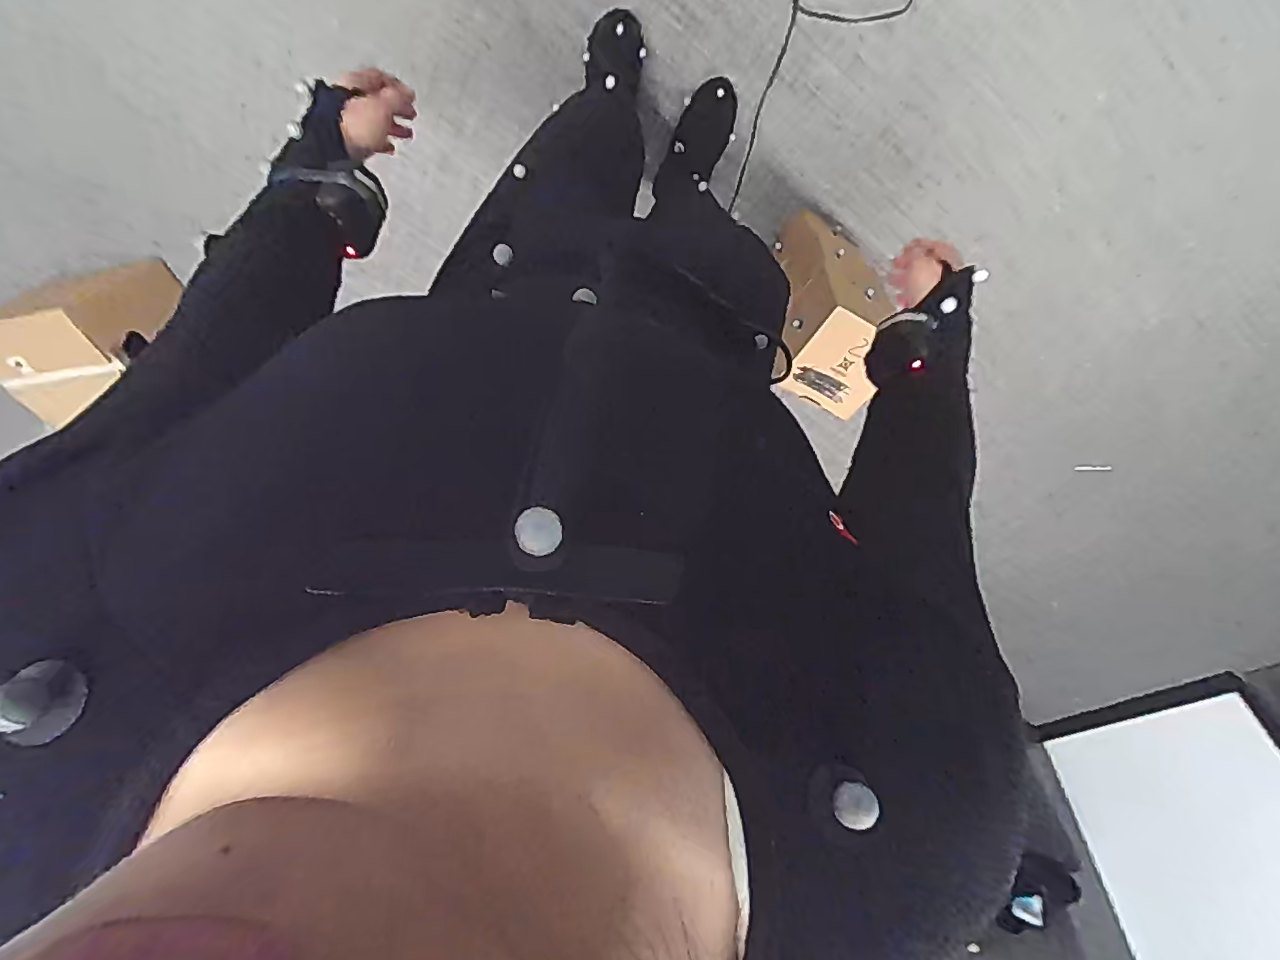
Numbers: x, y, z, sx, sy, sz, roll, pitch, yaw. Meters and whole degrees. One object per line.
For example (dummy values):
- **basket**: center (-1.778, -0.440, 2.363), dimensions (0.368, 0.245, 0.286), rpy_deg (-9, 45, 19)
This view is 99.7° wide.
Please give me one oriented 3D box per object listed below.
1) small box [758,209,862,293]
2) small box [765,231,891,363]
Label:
- **small box**: center (0.387, -0.490, 1.239), dimensions (0.179, 0.176, 0.168), rpy_deg (28, 132, -18)
- **small box**: center (0.375, -0.383, 1.116), dimensions (0.179, 0.176, 0.168), rpy_deg (25, 134, -17)
